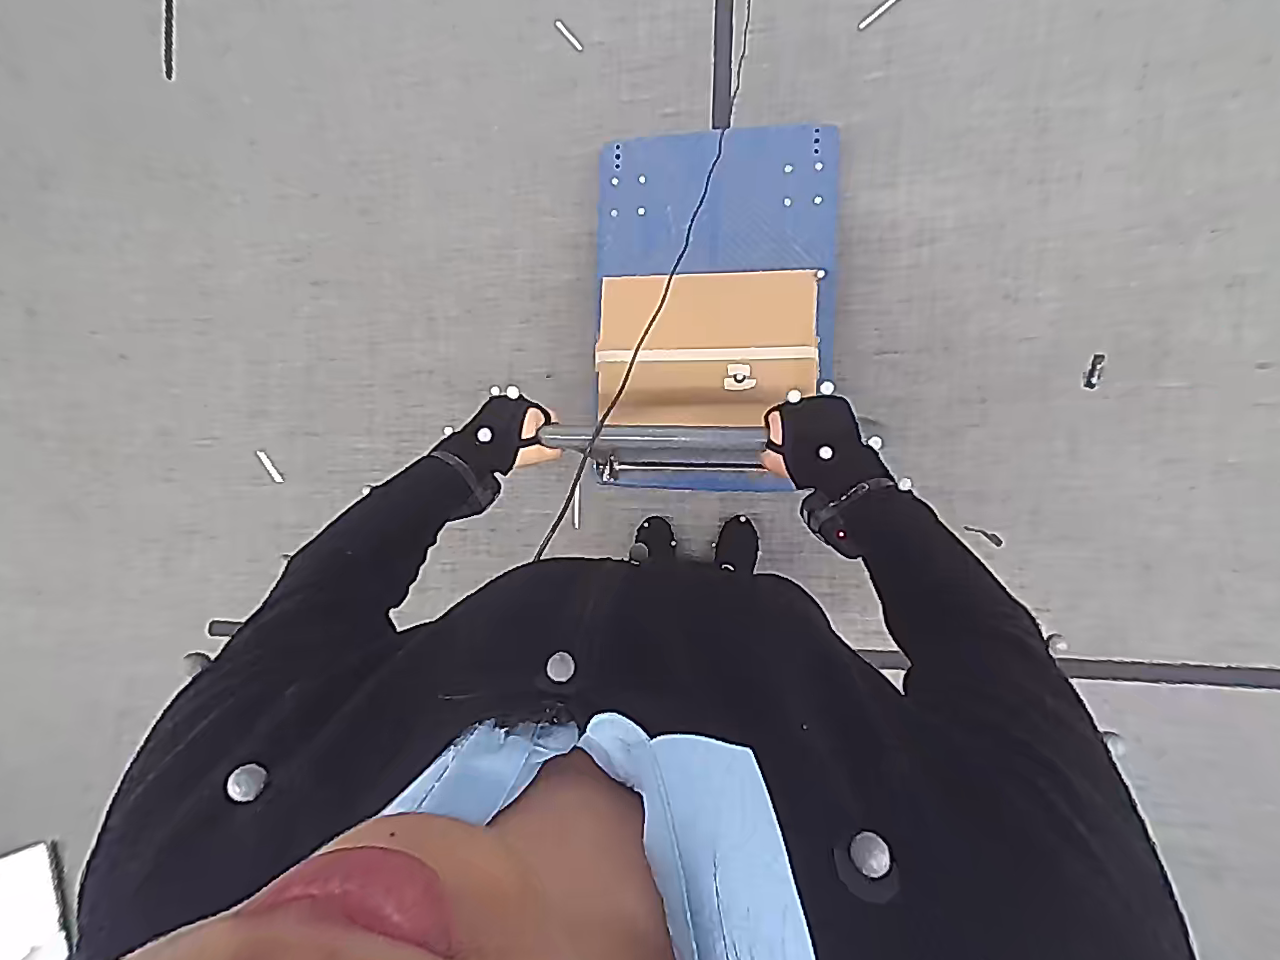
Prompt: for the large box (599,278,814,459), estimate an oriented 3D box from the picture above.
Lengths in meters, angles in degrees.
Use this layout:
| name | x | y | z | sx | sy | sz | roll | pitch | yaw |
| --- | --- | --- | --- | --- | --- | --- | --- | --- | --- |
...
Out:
| name | x | y | z | sx | sy | sz | roll | pitch | yaw |
| --- | --- | --- | --- | --- | --- | --- | --- | --- | --- |
| large box | 0.140 | -0.213 | 1.161 | 0.408 | 0.320 | 0.320 | 1 | 88 | 9 |
